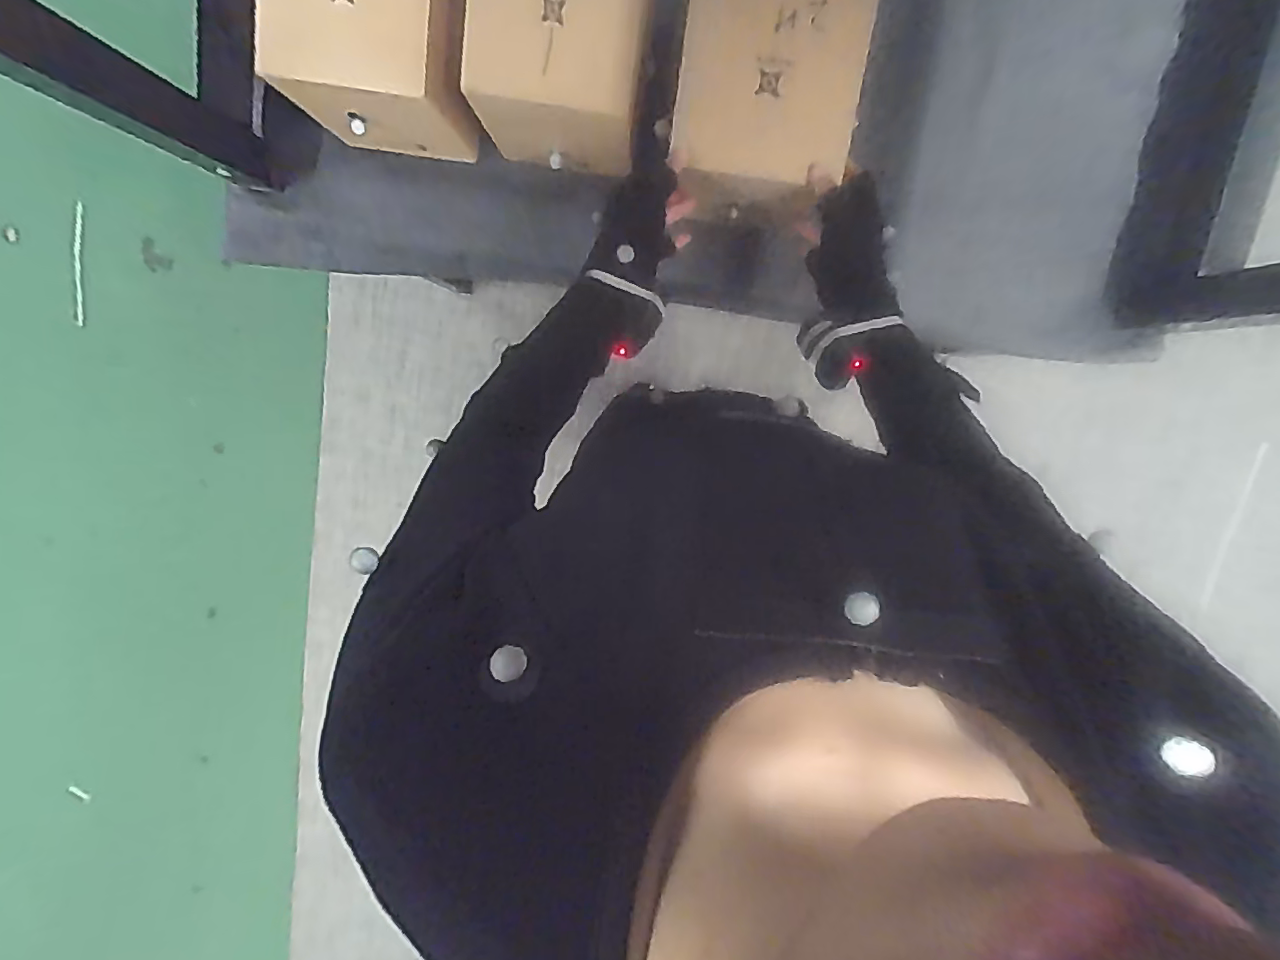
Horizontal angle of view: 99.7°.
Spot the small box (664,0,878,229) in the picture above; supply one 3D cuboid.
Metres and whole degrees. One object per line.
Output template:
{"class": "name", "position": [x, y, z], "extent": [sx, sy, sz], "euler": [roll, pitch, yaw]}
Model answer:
{"class": "small box", "position": [0.119, -0.380, 0.563], "extent": [0.168, 0.176, 0.179], "euler": [8, 100, -1]}

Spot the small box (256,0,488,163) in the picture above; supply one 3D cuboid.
{"class": "small box", "position": [-0.272, -0.471, 0.580], "extent": [0.168, 0.176, 0.179], "euler": [8, 100, -1]}
